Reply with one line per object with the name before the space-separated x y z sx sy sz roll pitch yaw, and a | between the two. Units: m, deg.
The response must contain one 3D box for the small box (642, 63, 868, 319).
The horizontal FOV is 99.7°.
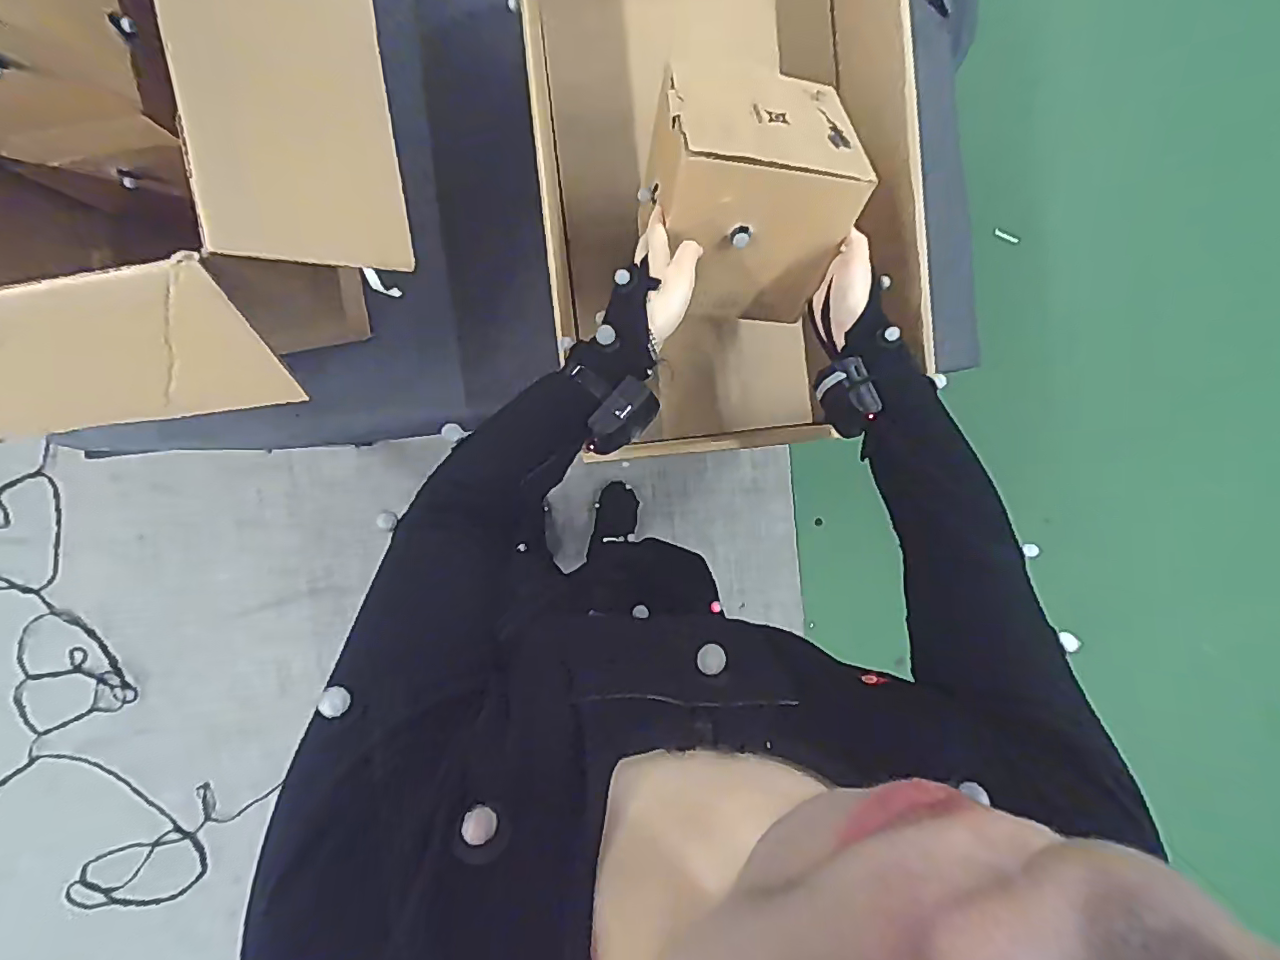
small box | 0.099 -0.290 0.565 0.179 0.176 0.168 2 61 -10
